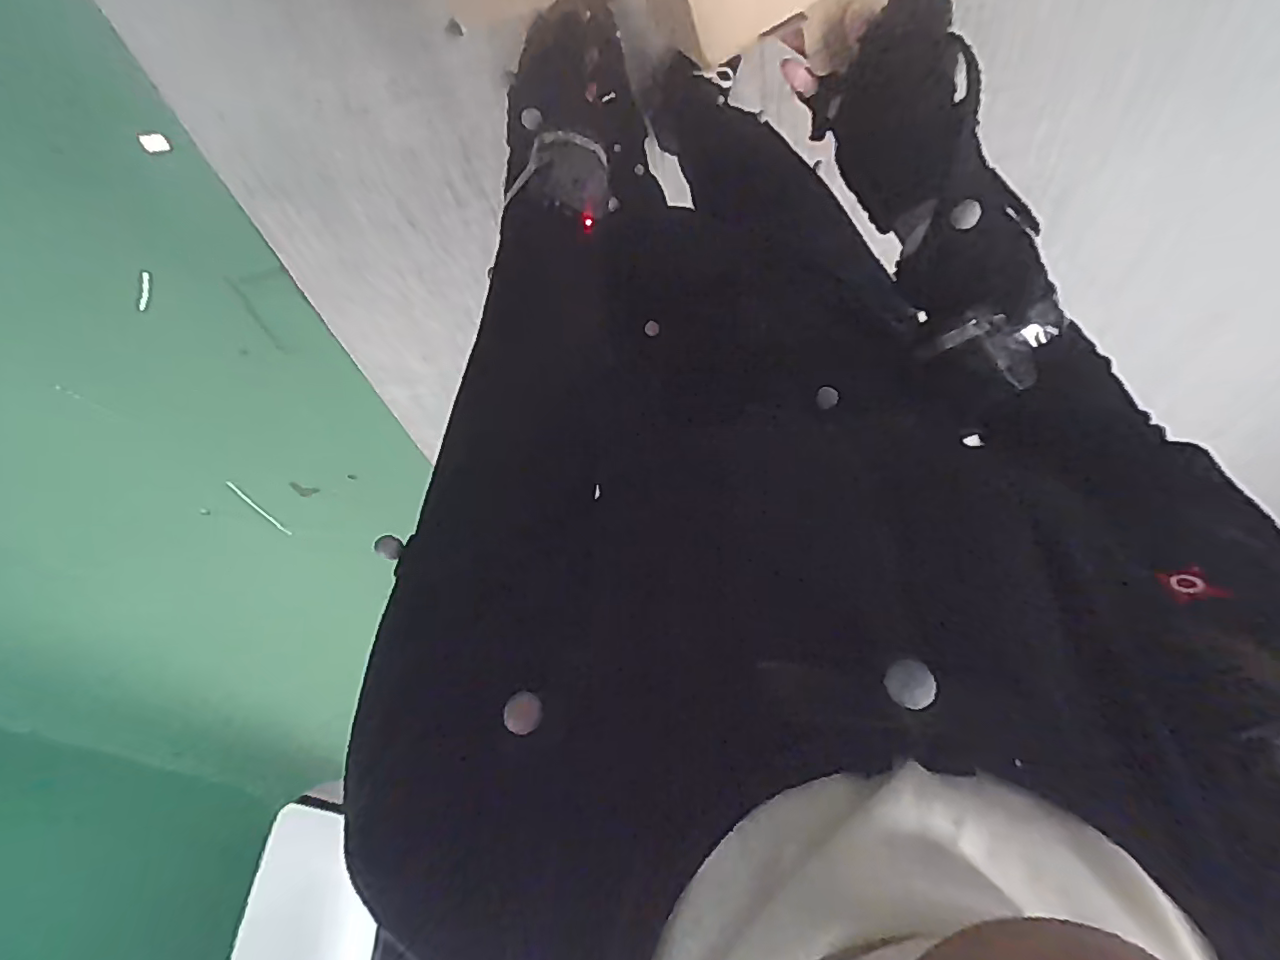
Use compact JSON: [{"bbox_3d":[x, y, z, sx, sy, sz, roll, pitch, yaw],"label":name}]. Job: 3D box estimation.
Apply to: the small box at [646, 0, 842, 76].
[{"bbox_3d":[0.062,-0.371,0.290,0.168,0.176,0.179,-23,136,12],"label":"small box"}]
